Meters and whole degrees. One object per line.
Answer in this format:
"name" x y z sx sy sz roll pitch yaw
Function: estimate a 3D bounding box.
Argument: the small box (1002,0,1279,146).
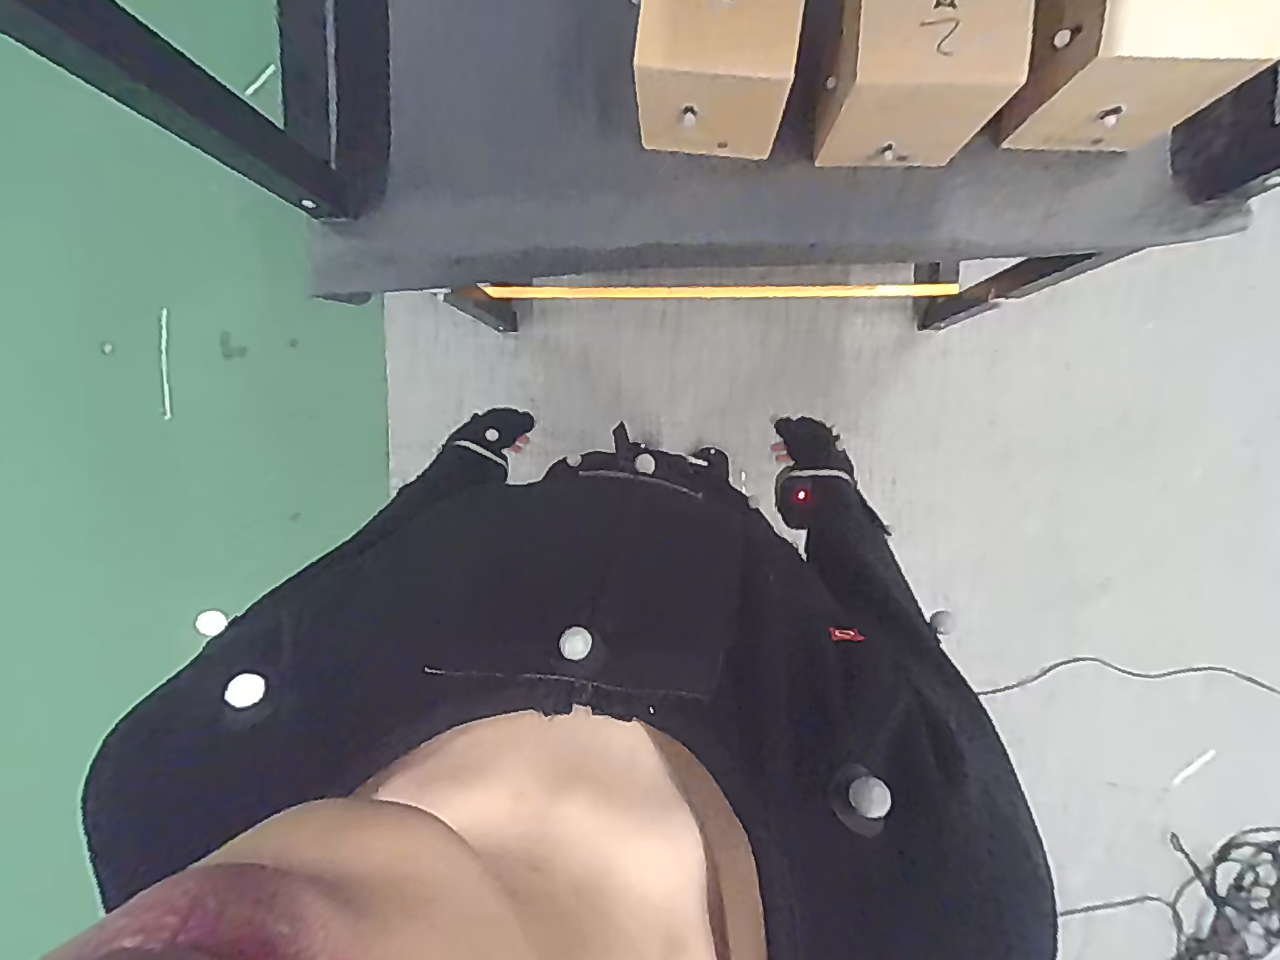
"small box" 0.532 -0.496 0.590 0.168 0.176 0.179 4 94 3

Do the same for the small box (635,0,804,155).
"small box" 0.092 -0.507 0.623 0.168 0.176 0.179 7 95 3
